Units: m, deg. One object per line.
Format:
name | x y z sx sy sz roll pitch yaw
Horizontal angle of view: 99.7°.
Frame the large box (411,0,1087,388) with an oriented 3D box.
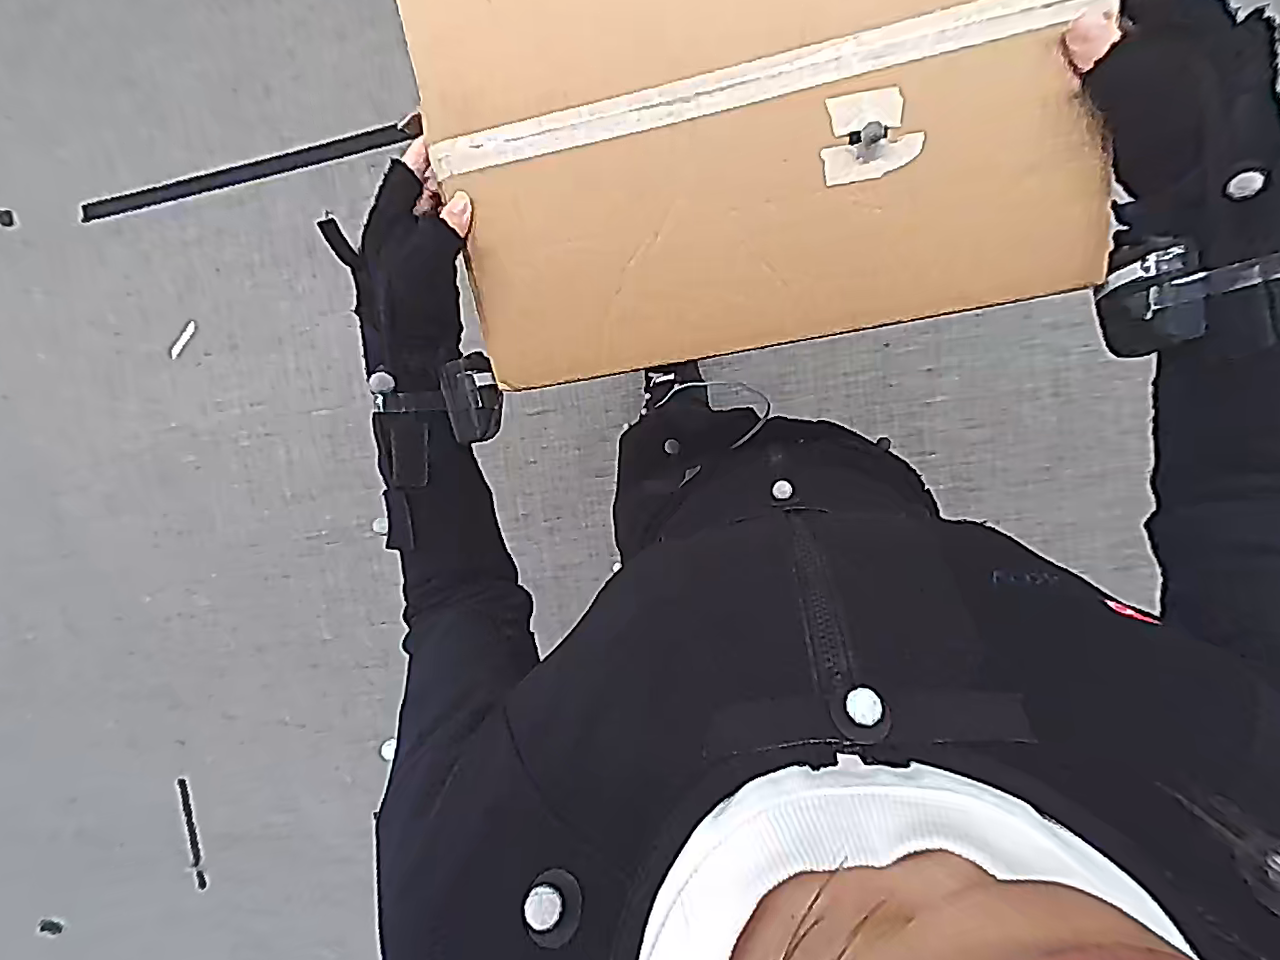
large box | 0.078 -0.287 0.485 0.408 0.320 0.320 -10 106 7
